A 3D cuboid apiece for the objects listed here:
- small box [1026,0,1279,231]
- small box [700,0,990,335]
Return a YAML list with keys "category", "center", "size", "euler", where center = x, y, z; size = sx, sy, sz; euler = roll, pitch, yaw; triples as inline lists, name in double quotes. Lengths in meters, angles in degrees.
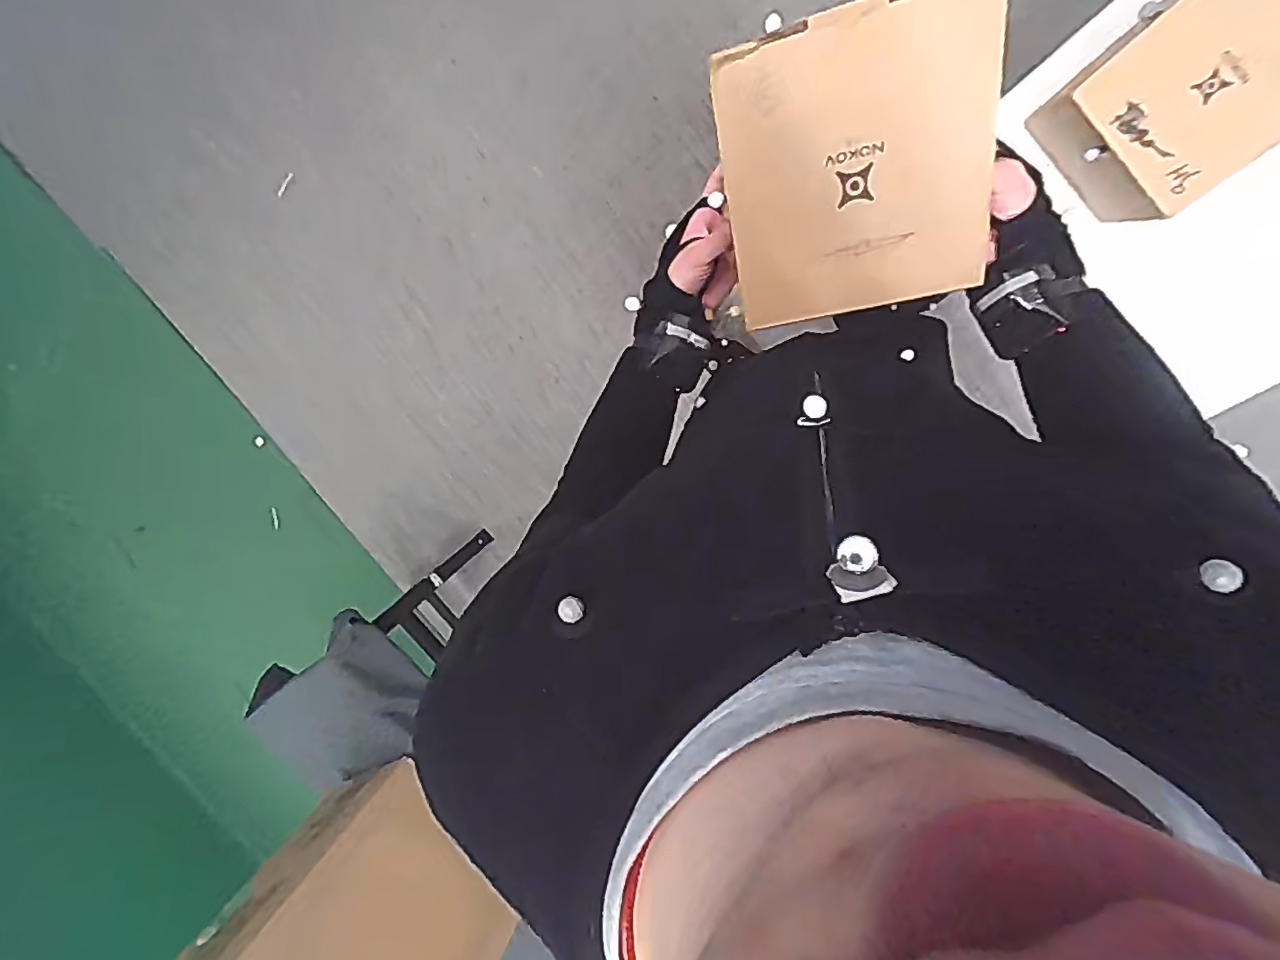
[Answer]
- category: "small box"
  center: [0.561, -0.392, 0.571]
  size: [0.179, 0.176, 0.168]
  euler: [-39, 95, 29]
- category: "small box"
  center: [0.144, -0.236, 0.421]
  size: [0.168, 0.176, 0.179]
  euler: [-7, 123, 15]
